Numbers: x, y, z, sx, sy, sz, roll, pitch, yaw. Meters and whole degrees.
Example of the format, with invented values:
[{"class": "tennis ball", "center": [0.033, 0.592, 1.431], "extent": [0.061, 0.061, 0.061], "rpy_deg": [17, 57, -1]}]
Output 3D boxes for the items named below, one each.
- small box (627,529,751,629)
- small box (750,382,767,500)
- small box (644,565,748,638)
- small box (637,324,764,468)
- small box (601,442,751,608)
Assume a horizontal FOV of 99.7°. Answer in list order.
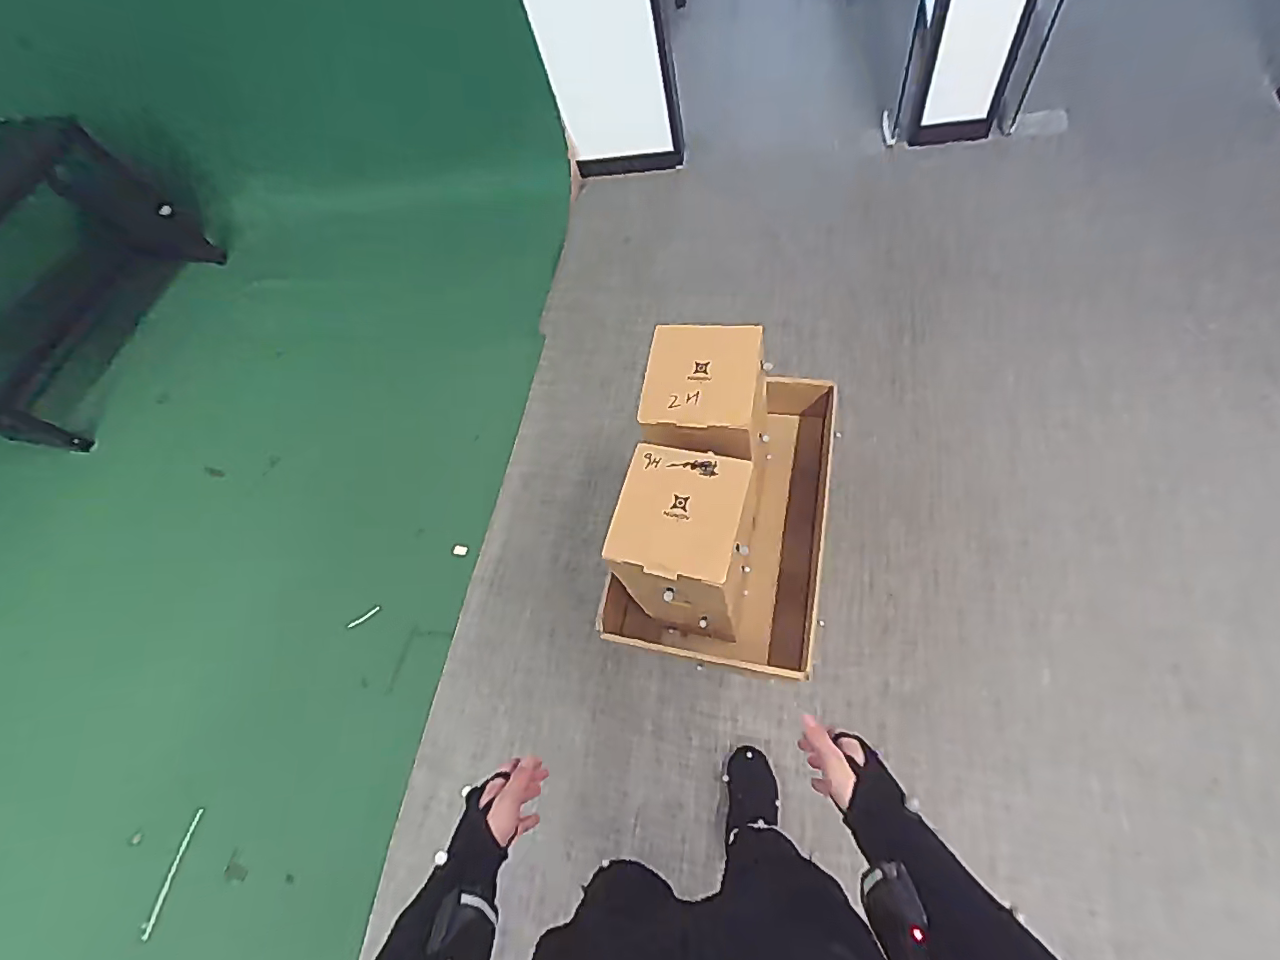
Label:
[{"class": "small box", "center": [0.094, 0.142, 0.924], "extent": [0.168, 0.176, 0.179], "rpy_deg": [10, 67, 17]}, {"class": "small box", "center": [0.144, -0.074, 1.022], "extent": [0.168, 0.176, 0.179], "rpy_deg": [7, 70, 16]}, {"class": "small box", "center": [0.121, 0.203, 1.072], "extent": [0.168, 0.176, 0.179], "rpy_deg": [8, 66, 16]}, {"class": "small box", "center": [0.106, -0.127, 0.869], "extent": [0.168, 0.176, 0.179], "rpy_deg": [6, 69, 16]}, {"class": "small box", "center": [0.064, 0.071, 0.779], "extent": [0.168, 0.176, 0.179], "rpy_deg": [12, 68, 17]}]
